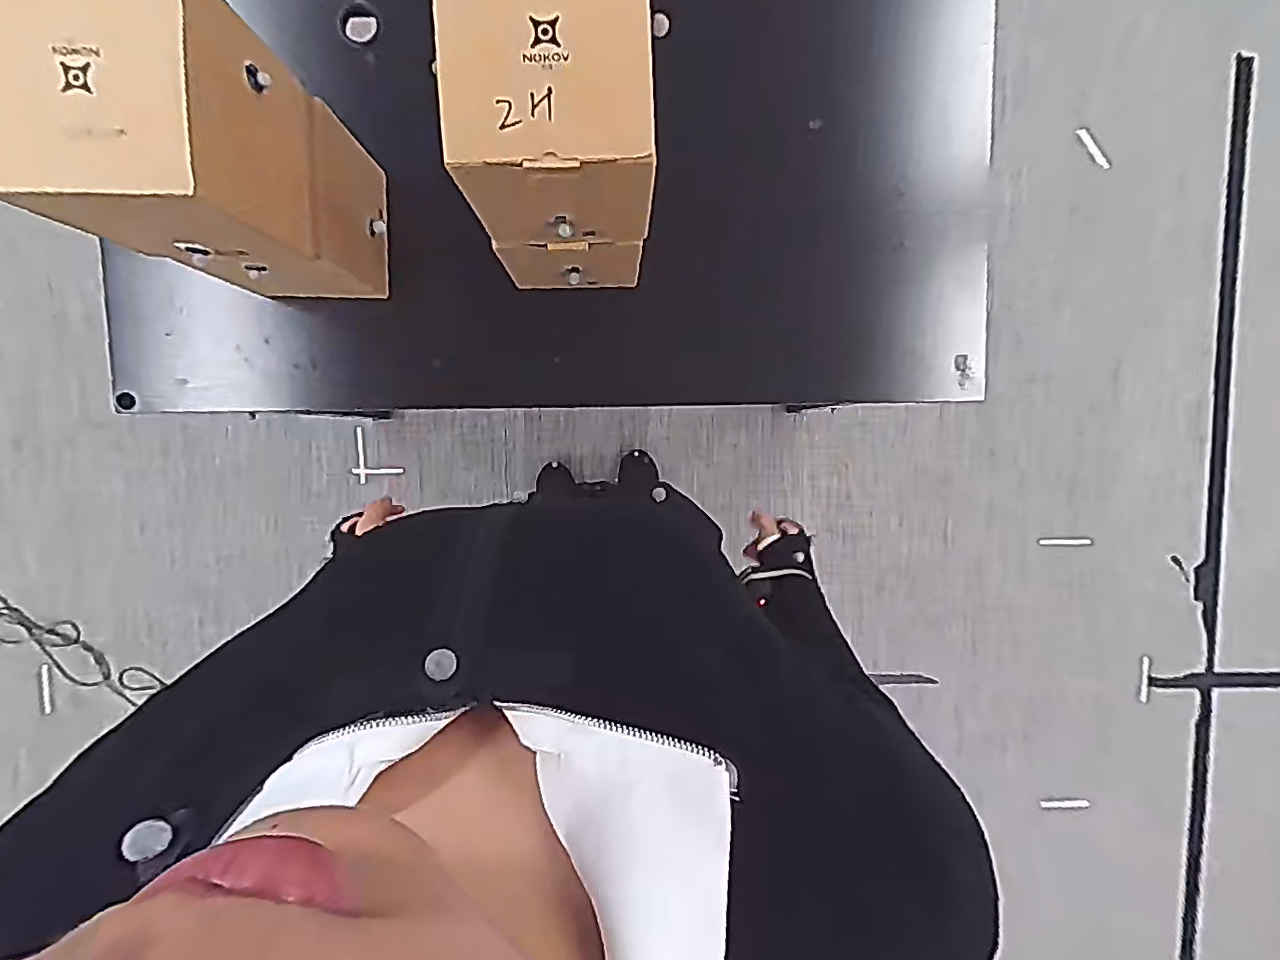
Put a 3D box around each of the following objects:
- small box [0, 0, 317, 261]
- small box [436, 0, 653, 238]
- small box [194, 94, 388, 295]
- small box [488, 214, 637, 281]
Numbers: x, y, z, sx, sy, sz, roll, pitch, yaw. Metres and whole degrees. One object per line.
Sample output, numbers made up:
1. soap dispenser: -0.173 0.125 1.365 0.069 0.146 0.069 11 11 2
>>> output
1. small box: -0.419 -0.313 0.483 0.168 0.176 0.179 -1 95 -1
2. small box: -0.076 -0.343 0.494 0.168 0.176 0.179 -2 94 -2
3. small box: -0.424 -0.327 0.645 0.179 0.176 0.168 0 94 -3
4. small box: -0.087 -0.349 0.660 0.168 0.176 0.179 -2 94 -2
